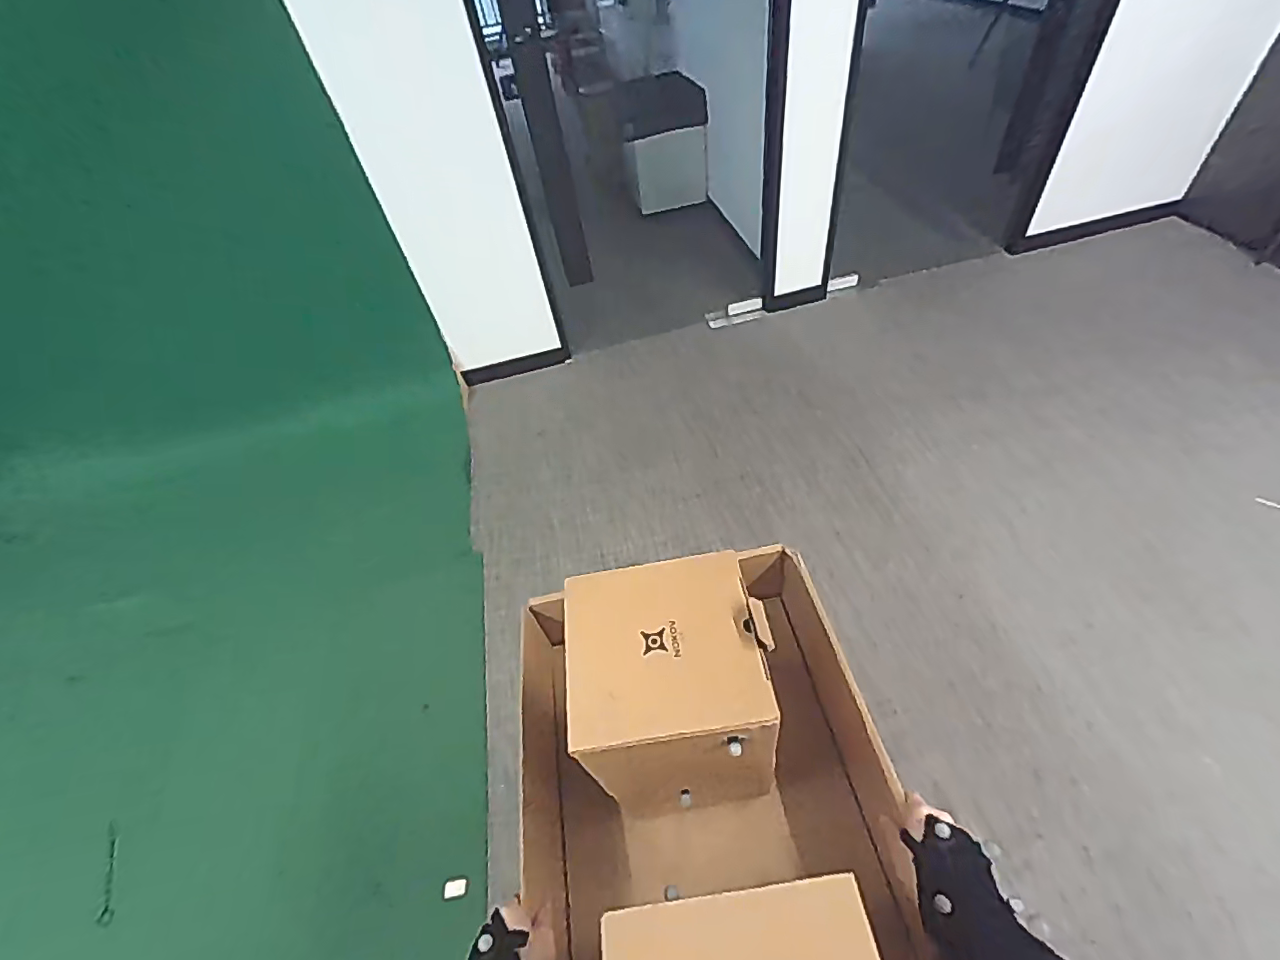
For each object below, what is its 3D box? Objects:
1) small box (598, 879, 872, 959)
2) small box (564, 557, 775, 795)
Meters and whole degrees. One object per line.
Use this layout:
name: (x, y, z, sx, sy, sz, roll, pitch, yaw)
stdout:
small box: (0.077, 0.396, 0.374, 0.179, 0.176, 0.168, -11, 50, 1)
small box: (0.028, 0.203, 0.549, 0.179, 0.176, 0.168, -10, 49, 1)
